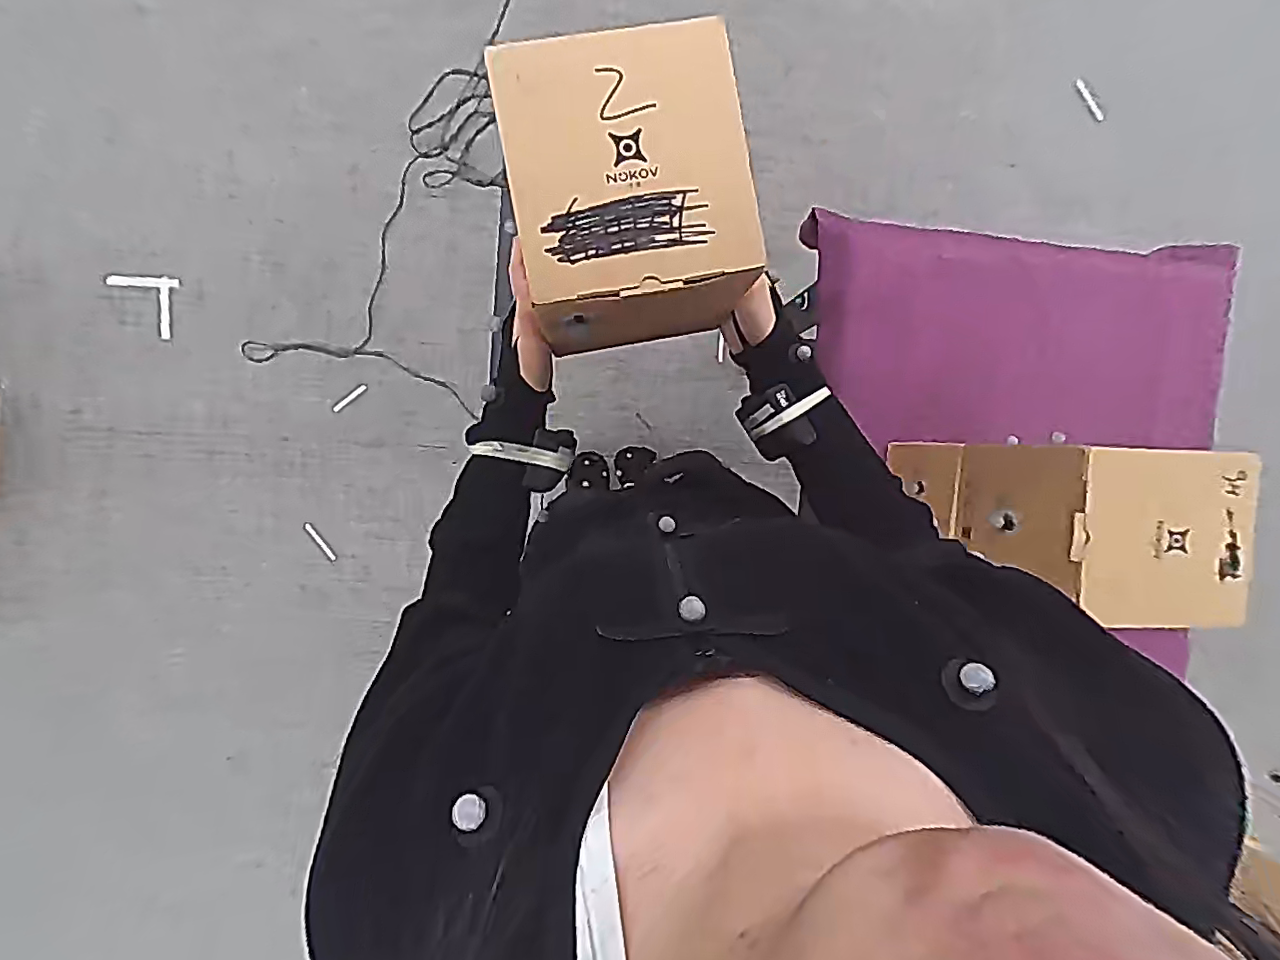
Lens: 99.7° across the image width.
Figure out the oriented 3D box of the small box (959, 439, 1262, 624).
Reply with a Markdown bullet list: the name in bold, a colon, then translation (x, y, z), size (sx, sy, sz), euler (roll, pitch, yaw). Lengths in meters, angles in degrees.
- **small box**: translation (0.474, 0.045, 0.572), size (0.179, 0.176, 0.168), euler (2, 94, -5)

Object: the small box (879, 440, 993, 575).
- **small box**: translation (0.453, 0.036, 0.735), size (0.179, 0.176, 0.168), euler (5, 93, -6)
